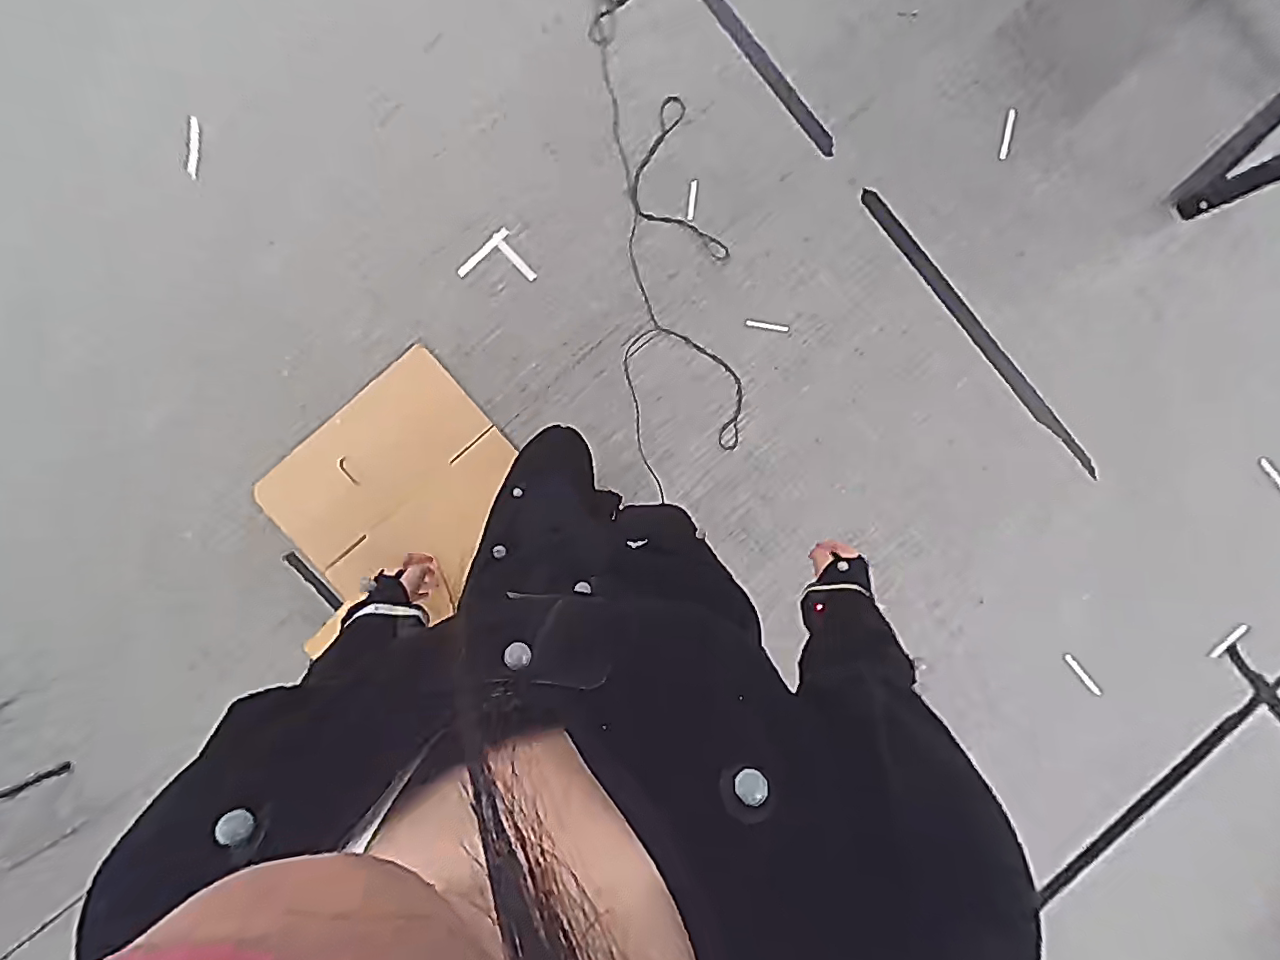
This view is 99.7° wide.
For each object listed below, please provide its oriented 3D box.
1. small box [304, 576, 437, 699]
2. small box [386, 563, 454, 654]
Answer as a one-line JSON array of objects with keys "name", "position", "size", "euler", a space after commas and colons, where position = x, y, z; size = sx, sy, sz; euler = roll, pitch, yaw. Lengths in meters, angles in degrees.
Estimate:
[{"name": "small box", "position": [-0.590, 0.343, 1.212], "size": [0.168, 0.176, 0.179], "euler": [43, 90, -4]}, {"name": "small box", "position": [-0.600, 0.333, 1.376], "size": [0.168, 0.176, 0.179], "euler": [42, 89, -3]}]
